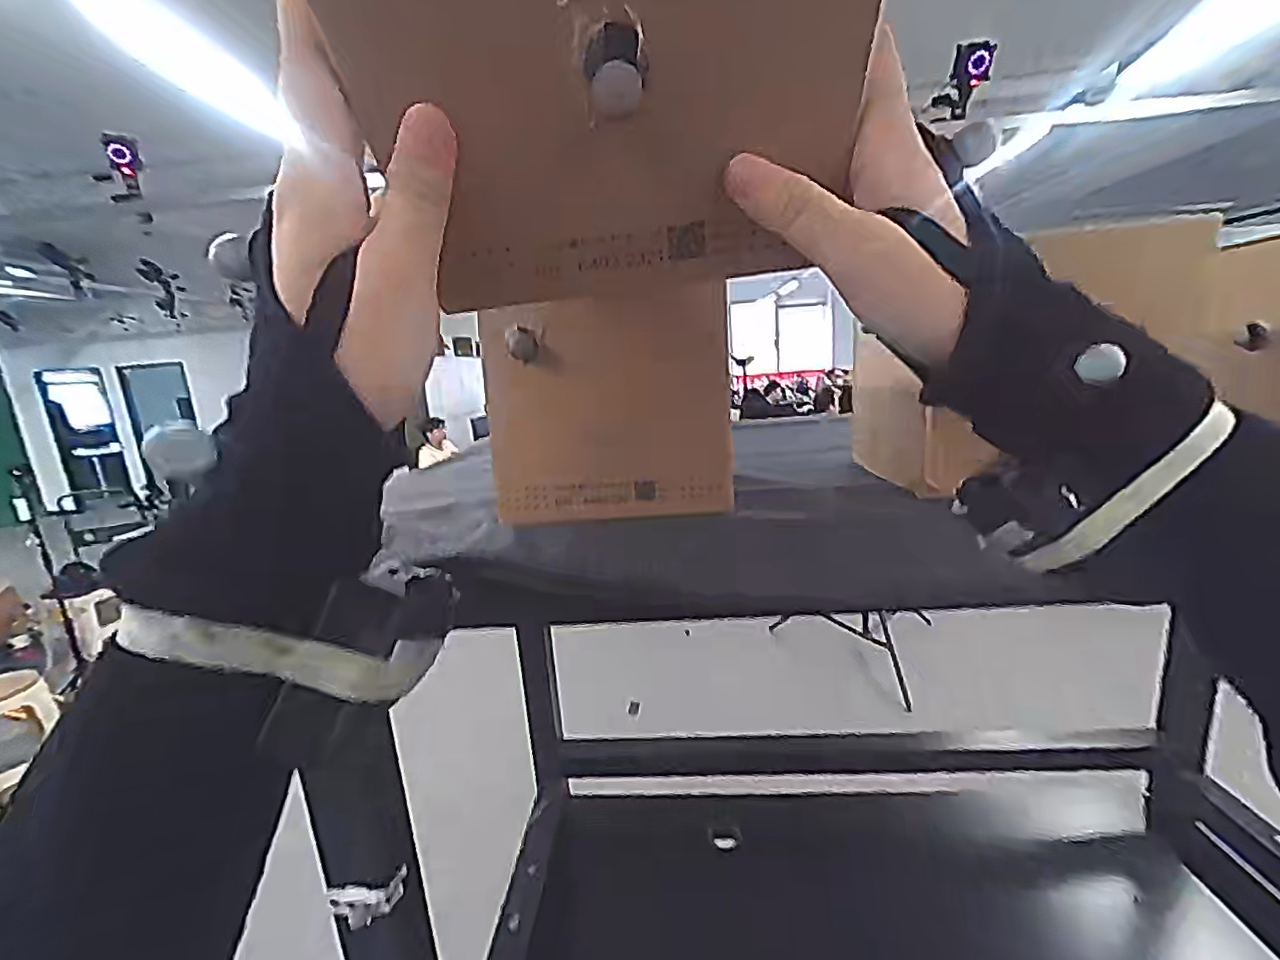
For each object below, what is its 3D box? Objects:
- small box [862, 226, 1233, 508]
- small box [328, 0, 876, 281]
[{"bbox_3d":[0.277,-0.077,0.418,0.168,0.176,0.179,-4,11,7],"label":"small box"},{"bbox_3d":[-0.013,-0.196,0.213,0.168,0.176,0.179,-7,54,0],"label":"small box"}]
